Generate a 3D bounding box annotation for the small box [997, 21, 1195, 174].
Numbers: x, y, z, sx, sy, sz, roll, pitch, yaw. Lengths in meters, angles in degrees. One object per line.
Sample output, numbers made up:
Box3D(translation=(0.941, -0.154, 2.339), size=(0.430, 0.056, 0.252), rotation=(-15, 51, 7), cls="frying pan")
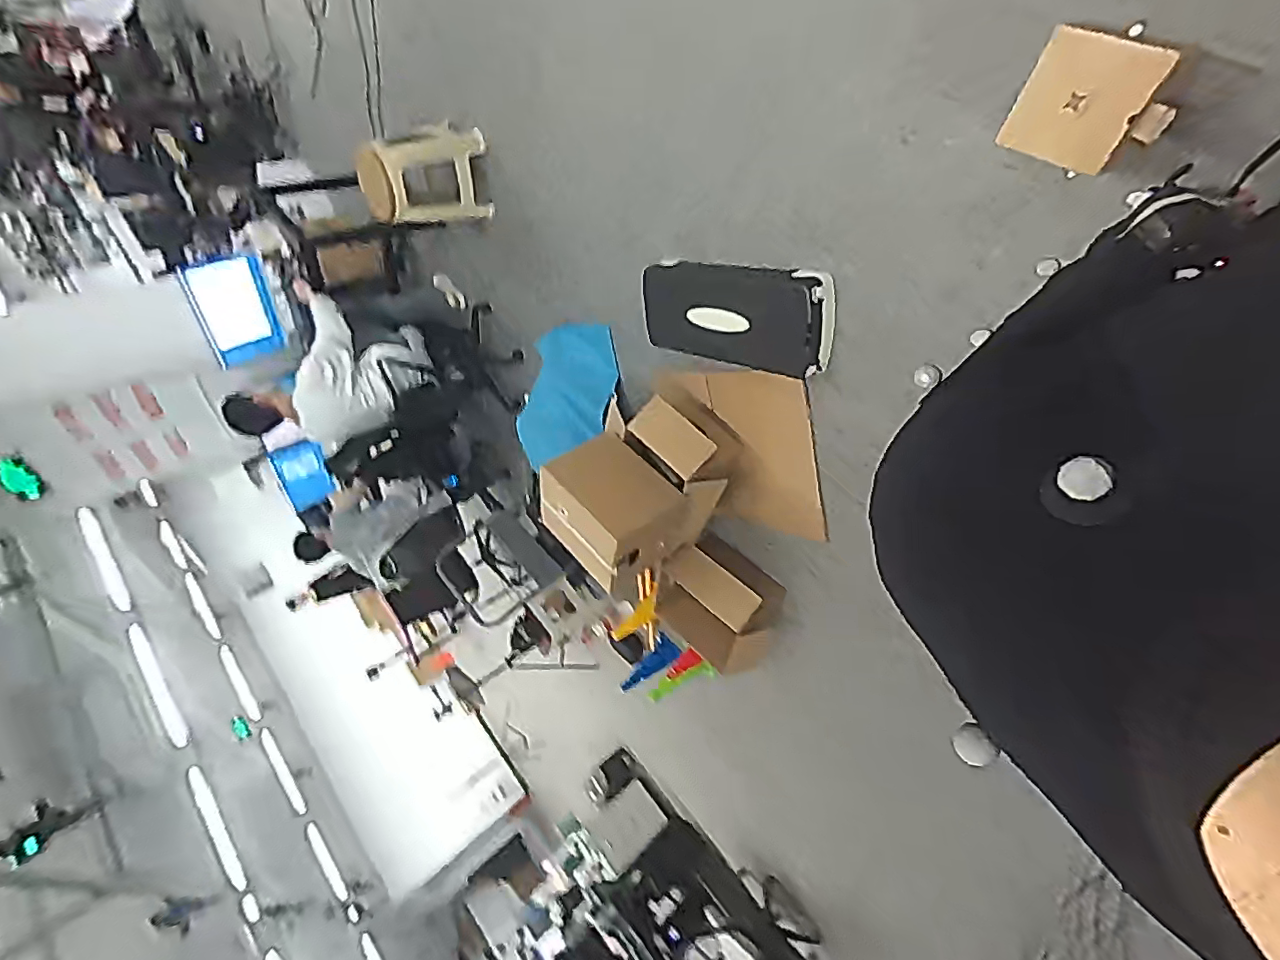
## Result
Box3D(translation=(0.748, -0.631, 0.894), size=(0.179, 0.176, 0.168), rotation=(41, 142, 25), cls="small box")
